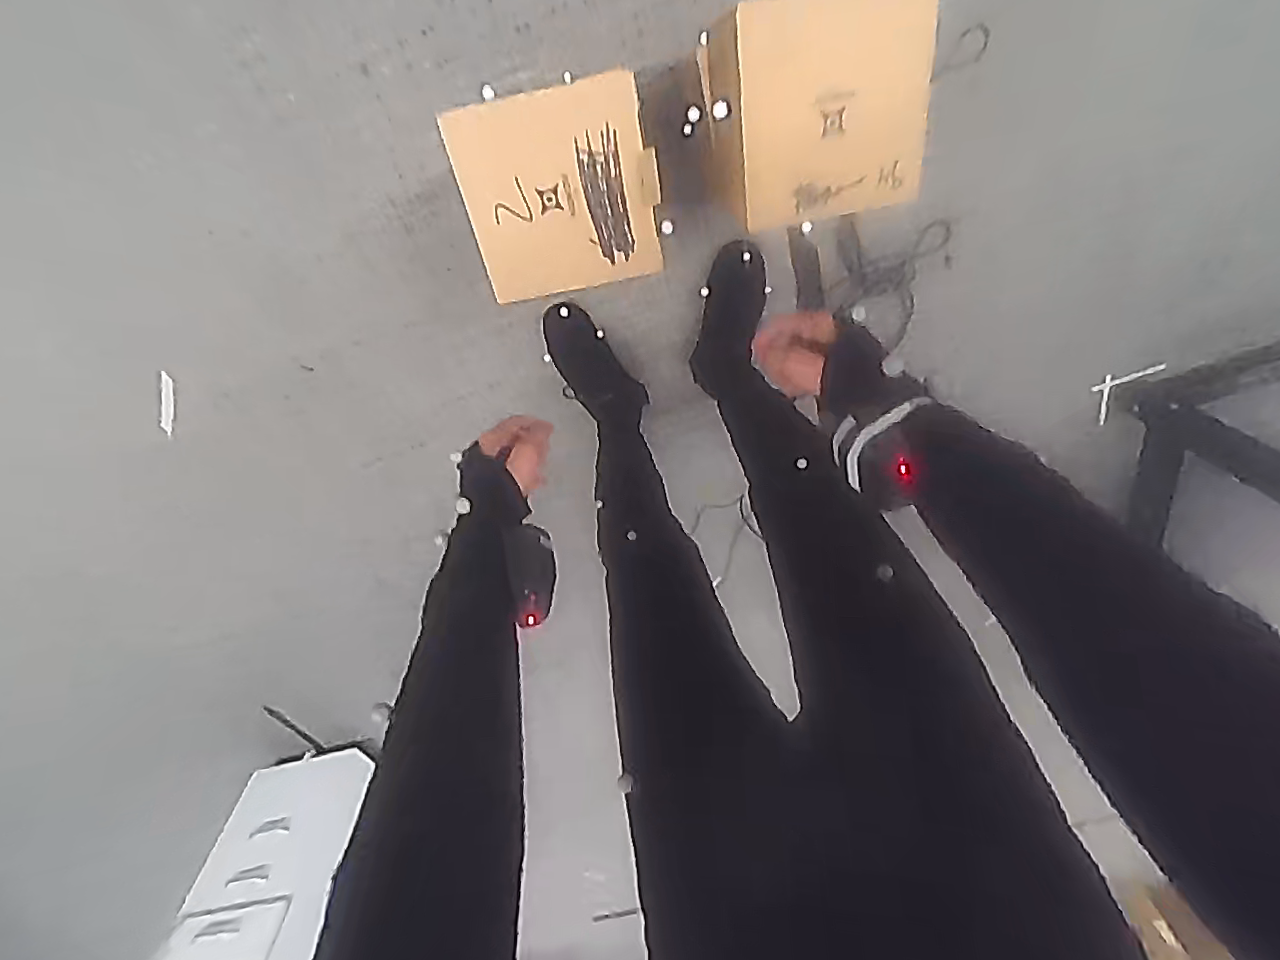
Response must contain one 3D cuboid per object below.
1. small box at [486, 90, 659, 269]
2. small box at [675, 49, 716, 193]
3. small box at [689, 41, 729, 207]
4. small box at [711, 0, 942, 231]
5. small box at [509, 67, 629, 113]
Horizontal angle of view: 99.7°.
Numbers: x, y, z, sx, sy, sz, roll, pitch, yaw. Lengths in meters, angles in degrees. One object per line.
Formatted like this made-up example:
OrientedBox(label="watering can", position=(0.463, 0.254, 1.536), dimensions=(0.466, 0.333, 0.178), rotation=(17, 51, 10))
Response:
OrientedBox(label="small box", position=(-0.078, -0.393, 0.702), dimensions=(0.179, 0.176, 0.168), rotation=(-9, 125, 4))
OrientedBox(label="small box", position=(0.156, -0.554, 0.805), dimensions=(0.168, 0.176, 0.179), rotation=(-17, 124, 9))
OrientedBox(label="small box", position=(0.163, -0.462, 0.672), dimensions=(0.179, 0.176, 0.168), rotation=(-15, 124, 8))
OrientedBox(label="small box", position=(0.168, -0.366, 0.538), dimensions=(0.168, 0.176, 0.179), rotation=(-9, 124, 4))
OrientedBox(label="small box", position=(-0.083, -0.499, 0.827), dimensions=(0.168, 0.176, 0.179), rotation=(-13, 125, 7))
